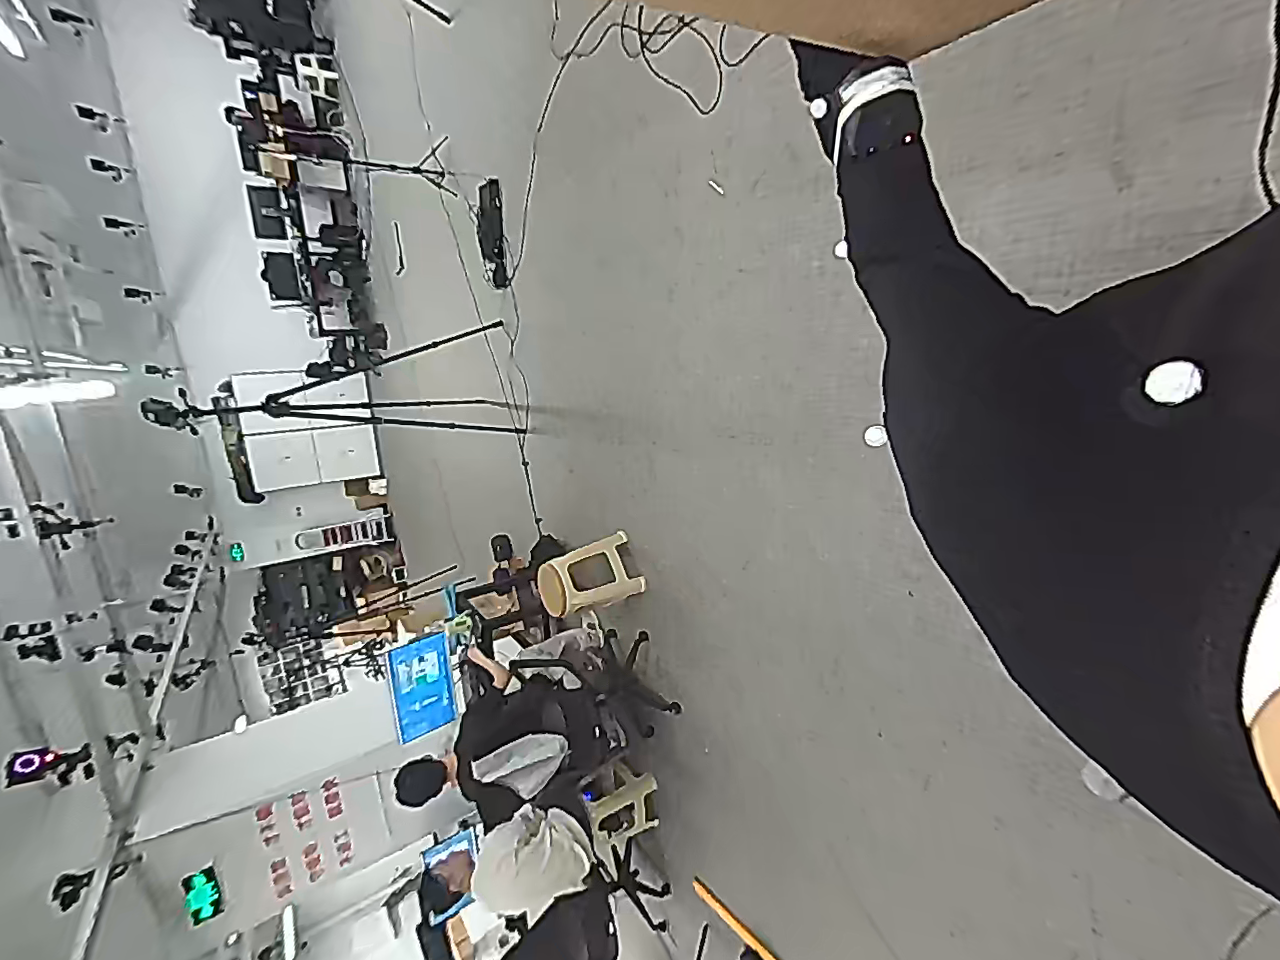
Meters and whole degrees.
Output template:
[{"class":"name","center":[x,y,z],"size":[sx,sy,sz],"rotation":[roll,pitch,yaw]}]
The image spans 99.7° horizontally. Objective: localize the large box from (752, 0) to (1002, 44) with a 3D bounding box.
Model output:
[{"class":"large box","center":[0.159,-0.439,0.190],"size":[0.408,0.320,0.320],"rotation":[-128,39,-63]}]
